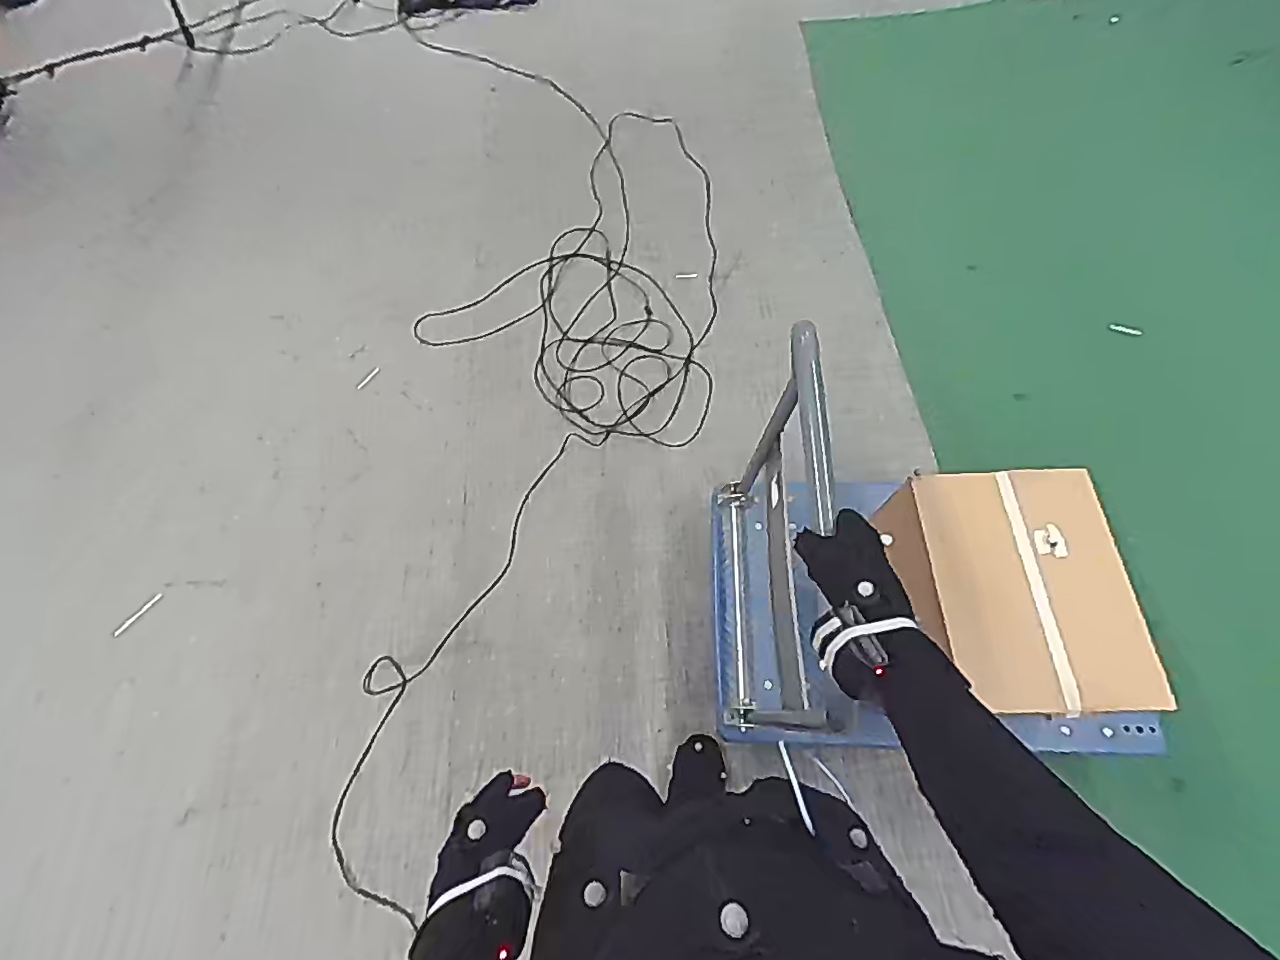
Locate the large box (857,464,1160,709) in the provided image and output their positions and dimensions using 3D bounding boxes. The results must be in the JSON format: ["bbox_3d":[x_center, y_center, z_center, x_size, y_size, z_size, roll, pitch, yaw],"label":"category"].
[{"bbox_3d":[0.653,0.220,1.050,0.320,0.320,0.408,-2,65,2],"label":"large box"}]
